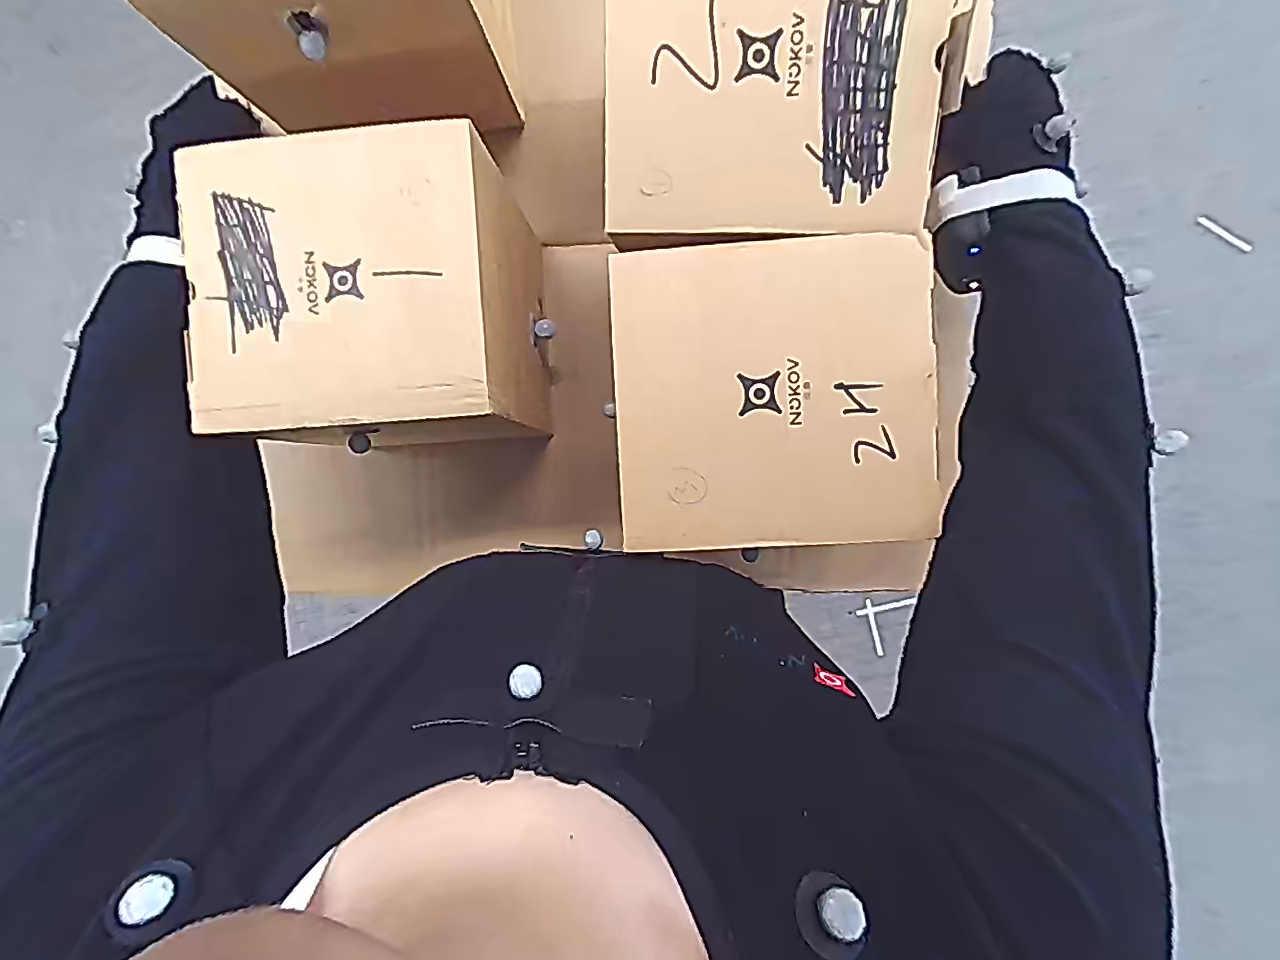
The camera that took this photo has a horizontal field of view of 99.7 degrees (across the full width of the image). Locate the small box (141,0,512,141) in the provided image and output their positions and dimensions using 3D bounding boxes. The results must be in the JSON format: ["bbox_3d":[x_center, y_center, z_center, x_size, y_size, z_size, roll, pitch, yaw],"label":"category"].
[{"bbox_3d":[-0.191,-0.353,0.347,0.179,0.176,0.168,-7,94,4],"label":"small box"}]
